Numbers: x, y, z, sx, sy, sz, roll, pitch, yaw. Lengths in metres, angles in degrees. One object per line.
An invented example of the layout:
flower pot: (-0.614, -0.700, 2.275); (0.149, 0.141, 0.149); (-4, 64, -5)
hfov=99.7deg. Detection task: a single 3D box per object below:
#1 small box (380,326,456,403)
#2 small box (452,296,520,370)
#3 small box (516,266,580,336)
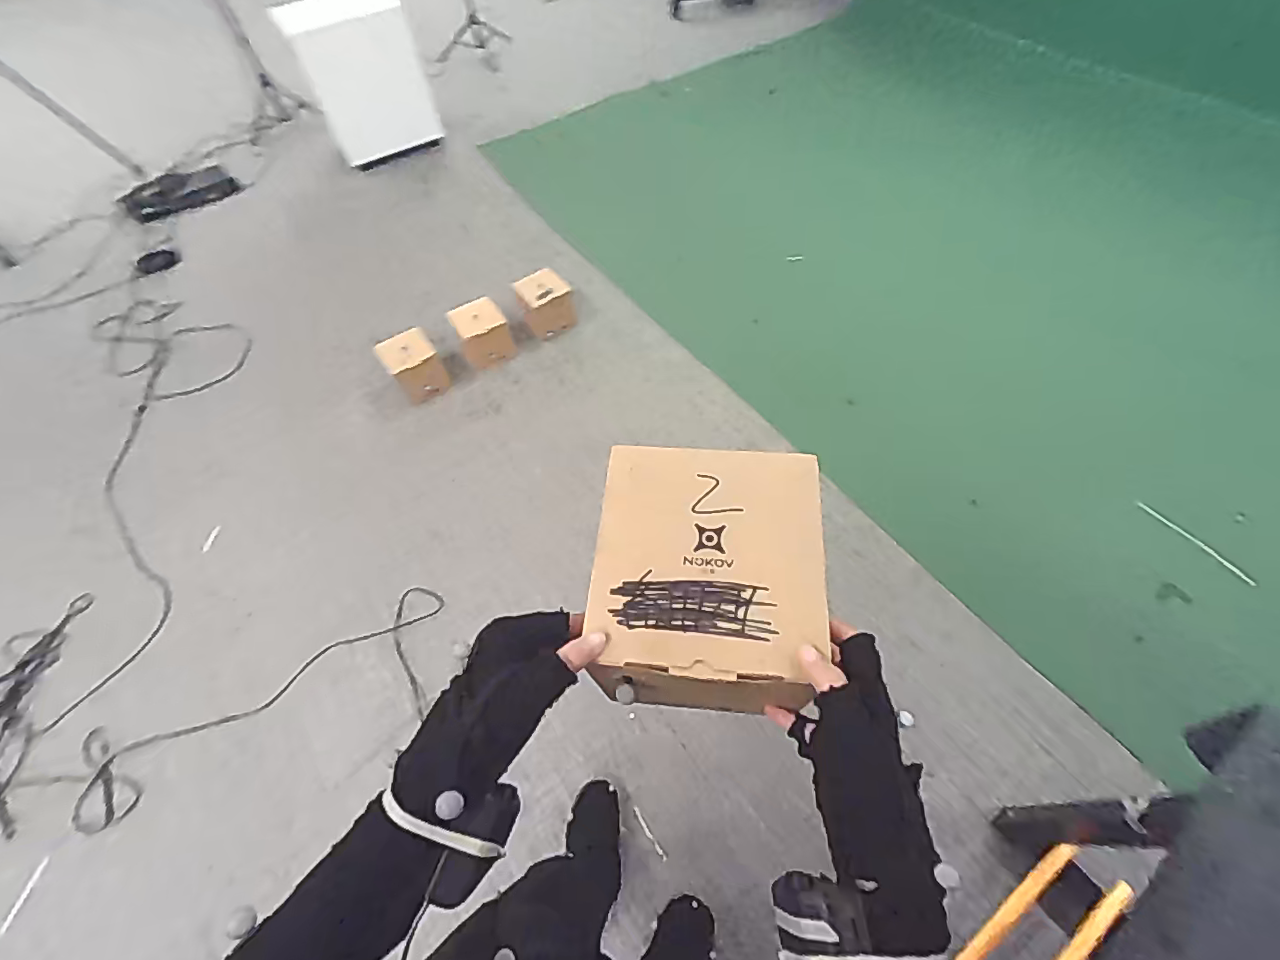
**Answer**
small box: (-0.789, -0.410, 1.935); (0.168, 0.176, 0.179); (-32, 62, -15)
small box: (-0.569, -0.544, 2.010); (0.168, 0.176, 0.179); (-30, 61, -15)
small box: (-0.348, -0.679, 2.082); (0.168, 0.176, 0.179); (-33, 61, -16)
